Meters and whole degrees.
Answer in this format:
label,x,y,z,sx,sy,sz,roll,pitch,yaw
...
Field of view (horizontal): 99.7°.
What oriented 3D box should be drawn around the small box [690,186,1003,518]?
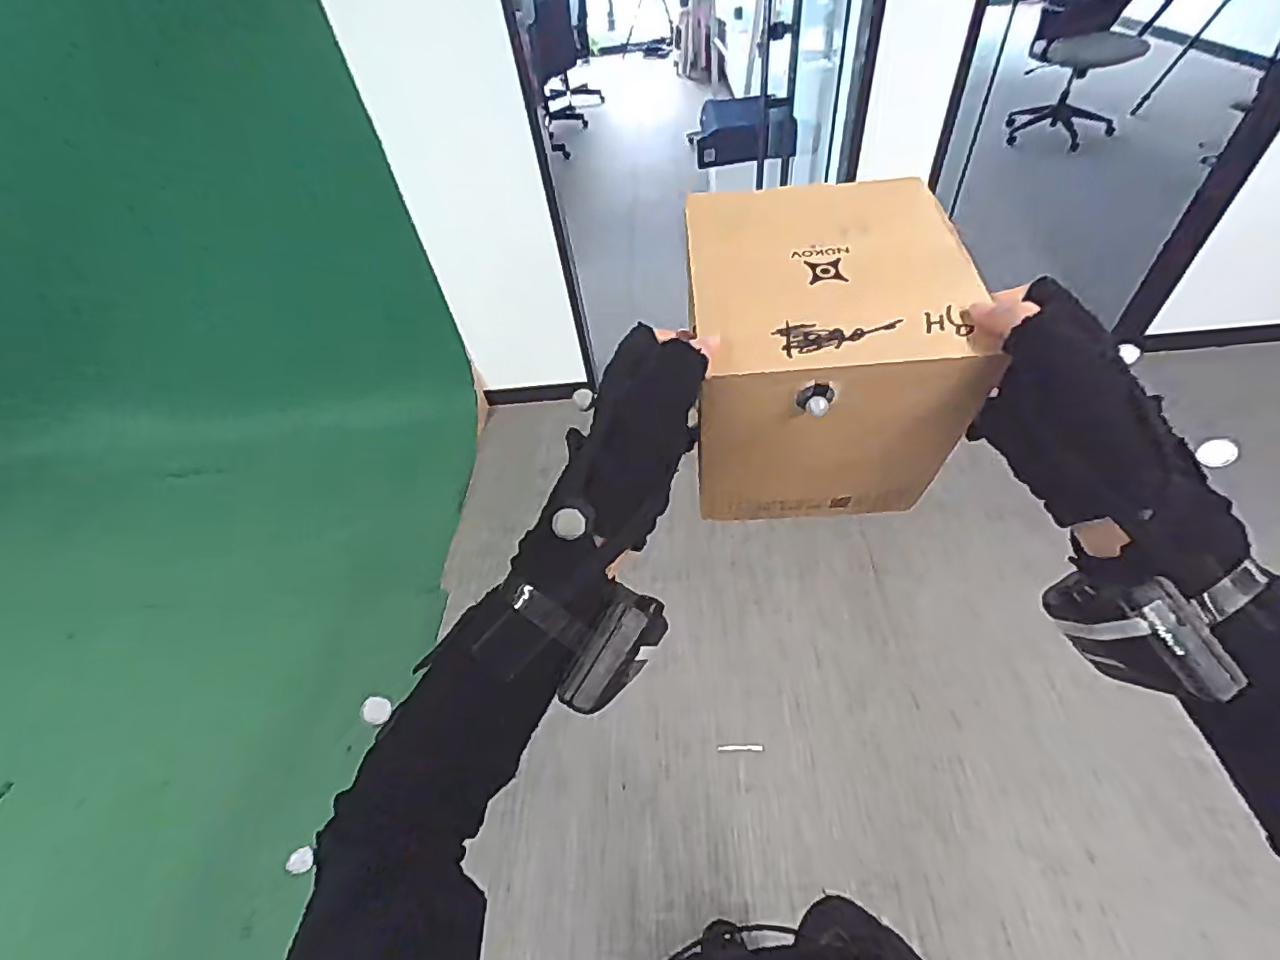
label,x,y,z,sx,sy,sz,roll,pitch,yaw
small box,0.122,-0.089,0.408,0.168,0.176,0.179,-3,56,5
